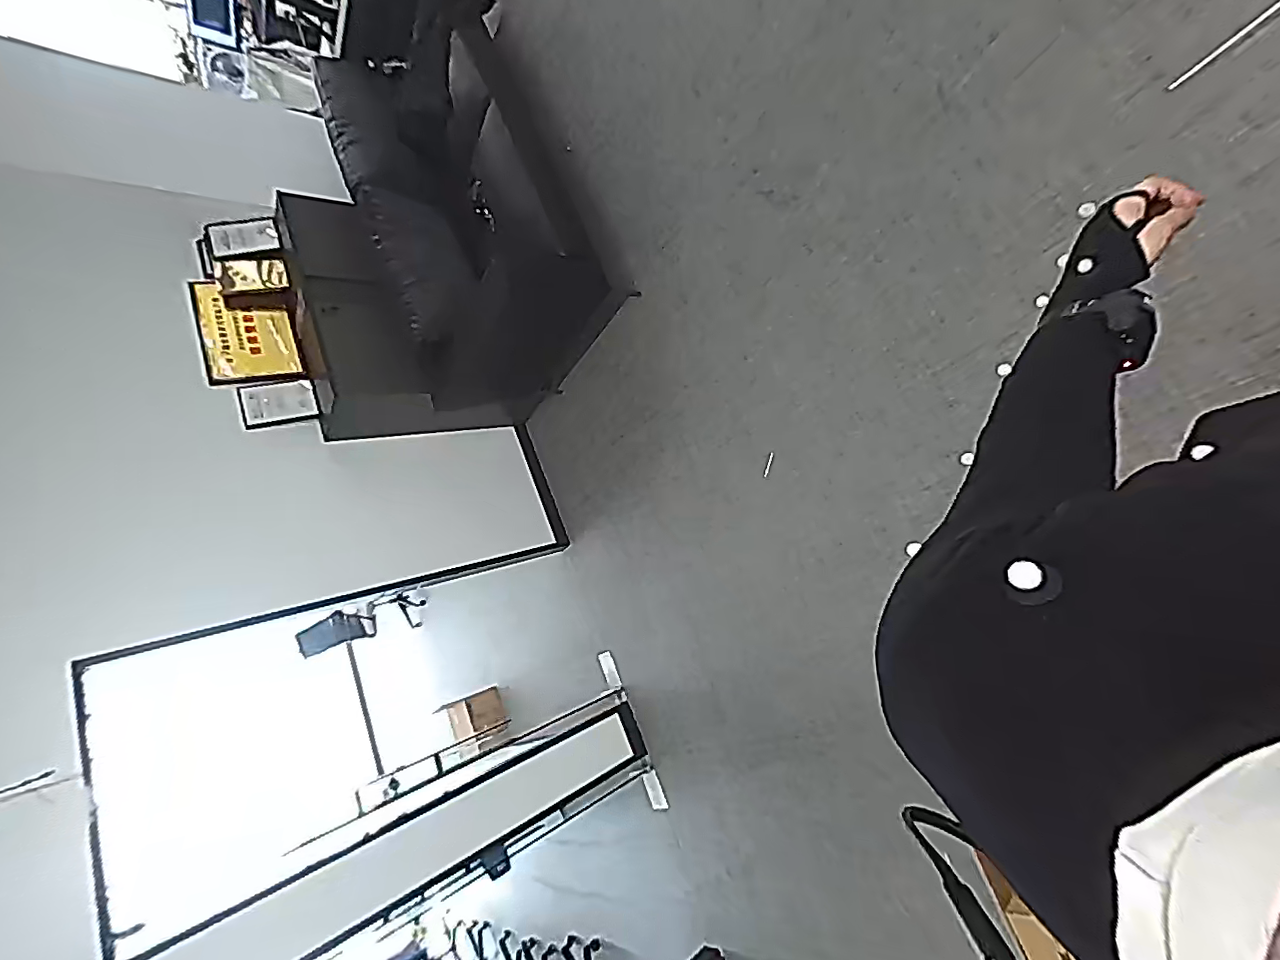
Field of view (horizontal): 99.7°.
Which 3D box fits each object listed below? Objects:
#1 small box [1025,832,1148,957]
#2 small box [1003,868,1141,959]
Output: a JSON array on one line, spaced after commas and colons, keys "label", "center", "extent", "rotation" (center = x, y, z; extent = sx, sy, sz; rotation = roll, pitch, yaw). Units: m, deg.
[{"label": "small box", "center": [1.081, 0.985, 1.305], "extent": [0.179, 0.176, 0.168], "rotation": [-33, 73, 47]}, {"label": "small box", "center": [0.958, 1.008, 1.197], "extent": [0.168, 0.176, 0.179], "rotation": [-39, 68, 45]}]
